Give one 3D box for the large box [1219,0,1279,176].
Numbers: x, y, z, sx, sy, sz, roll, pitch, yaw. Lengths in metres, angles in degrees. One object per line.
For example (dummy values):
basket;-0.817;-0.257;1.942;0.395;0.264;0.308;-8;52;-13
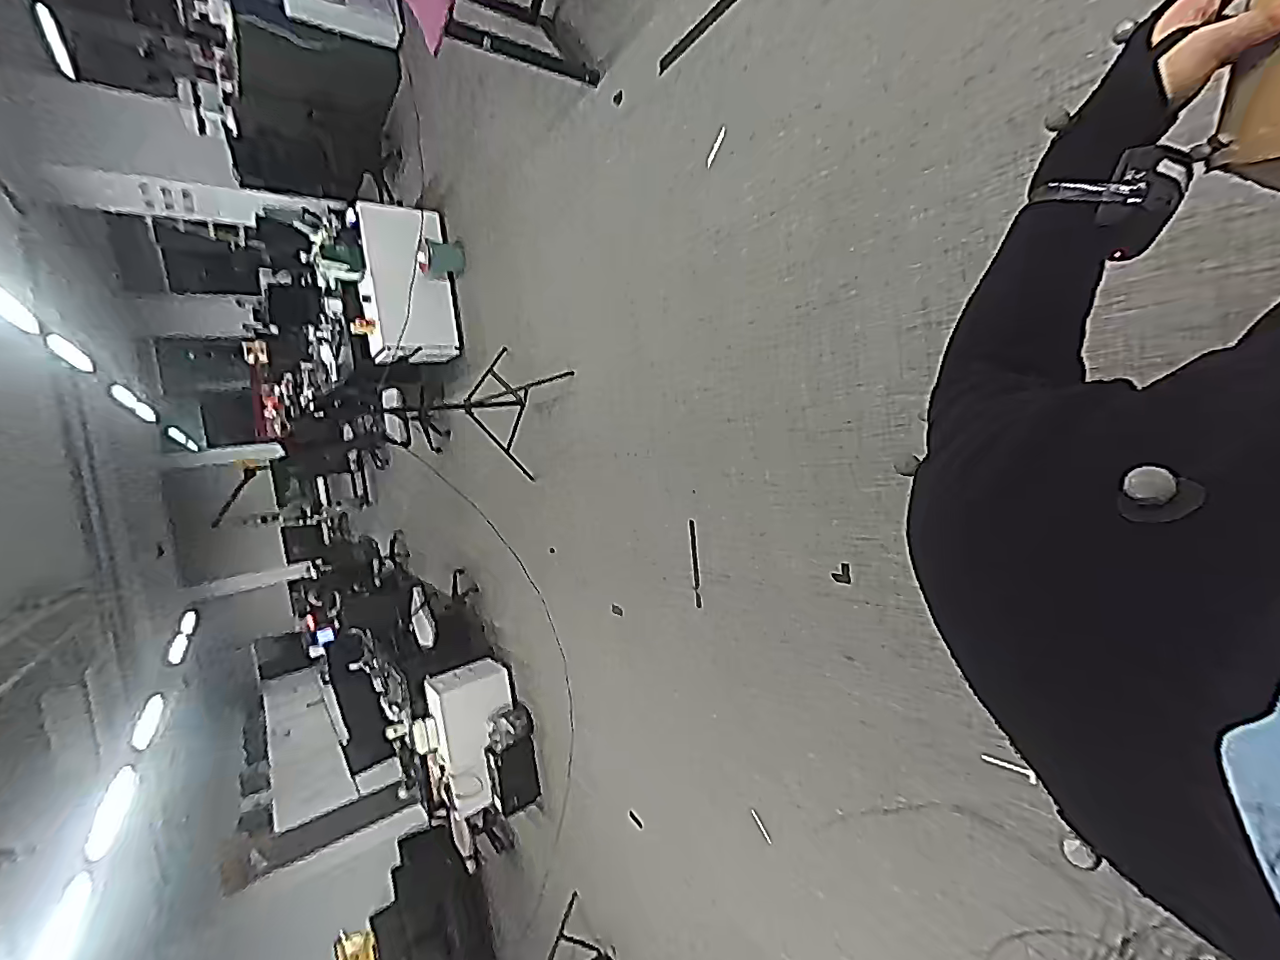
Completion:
large box;0.654;-0.370;0.271;0.408;0.320;0.320;22;119;56
